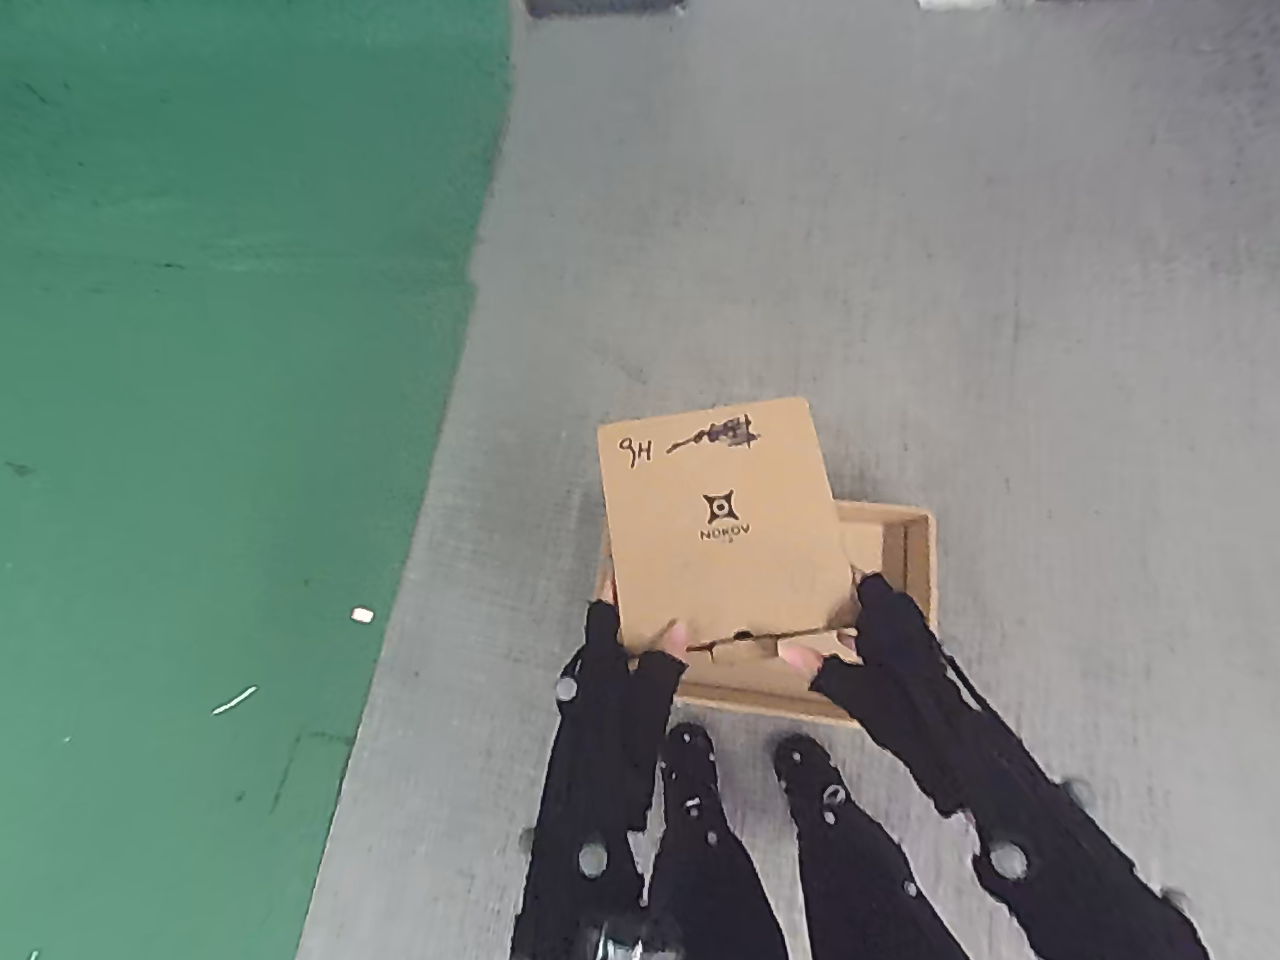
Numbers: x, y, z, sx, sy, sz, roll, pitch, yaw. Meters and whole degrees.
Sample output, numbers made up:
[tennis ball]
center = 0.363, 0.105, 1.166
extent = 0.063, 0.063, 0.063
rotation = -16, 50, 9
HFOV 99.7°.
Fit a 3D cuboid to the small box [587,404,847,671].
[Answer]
[small box]
center = 0.056, 0.056, 0.469
extent = 0.168, 0.176, 0.179
rotation = -9, 75, 0
